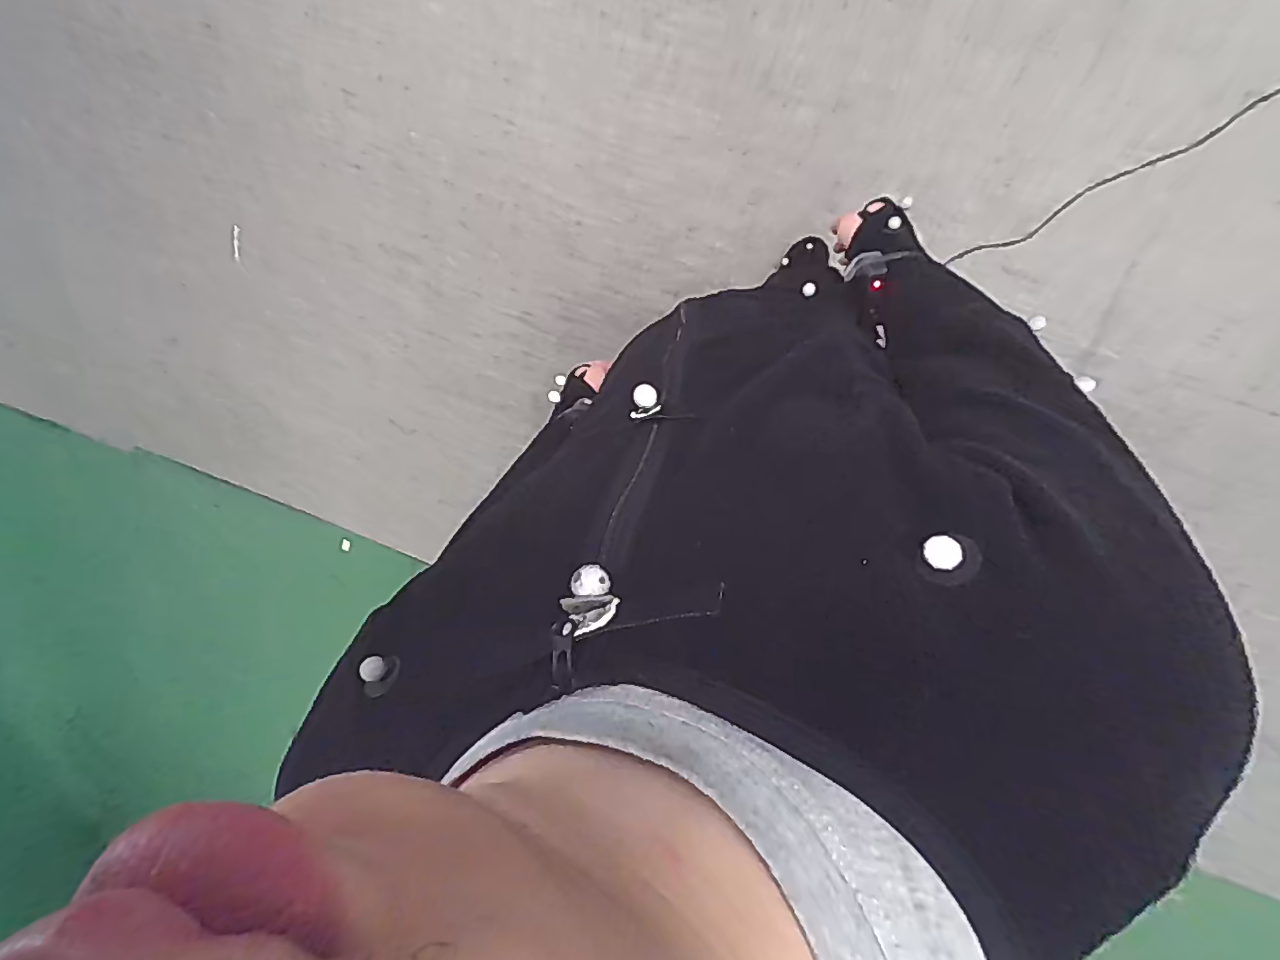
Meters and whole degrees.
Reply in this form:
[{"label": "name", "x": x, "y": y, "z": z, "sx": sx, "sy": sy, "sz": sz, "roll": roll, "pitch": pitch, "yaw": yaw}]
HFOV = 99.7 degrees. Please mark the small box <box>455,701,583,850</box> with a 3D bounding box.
[{"label": "small box", "x": -0.231, "y": 0.573, "z": 1.067, "sx": 0.179, "sy": 0.176, "sz": 0.168, "roll": 25, "pitch": 116, "yaw": 1}]
